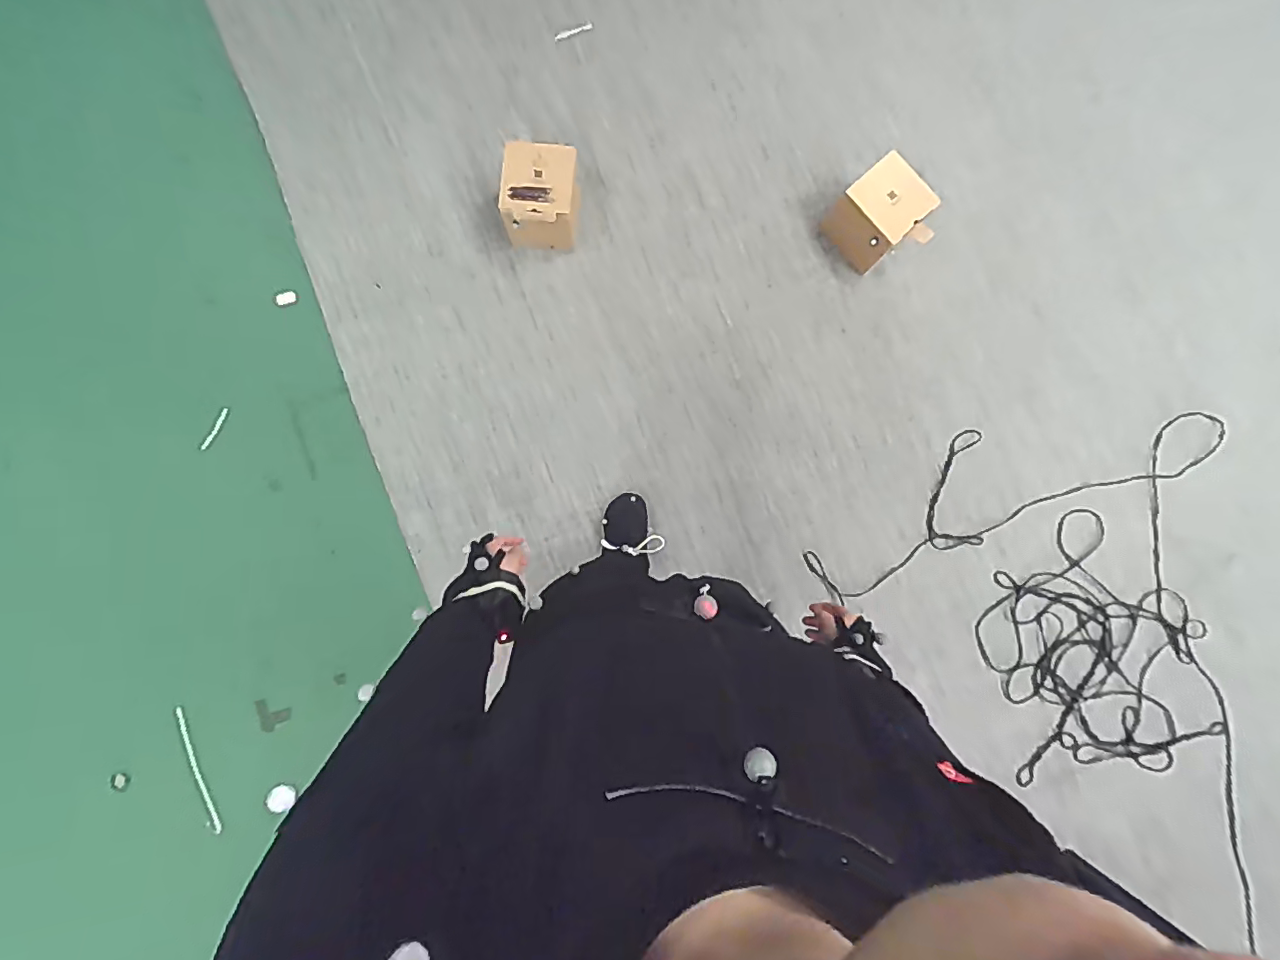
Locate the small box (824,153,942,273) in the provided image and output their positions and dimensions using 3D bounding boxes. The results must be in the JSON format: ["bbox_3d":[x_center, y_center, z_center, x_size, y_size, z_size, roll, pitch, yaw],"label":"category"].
[{"bbox_3d":[0.601,-0.662,1.364,0.168,0.176,0.179,-42,89,-4],"label":"small box"}]
